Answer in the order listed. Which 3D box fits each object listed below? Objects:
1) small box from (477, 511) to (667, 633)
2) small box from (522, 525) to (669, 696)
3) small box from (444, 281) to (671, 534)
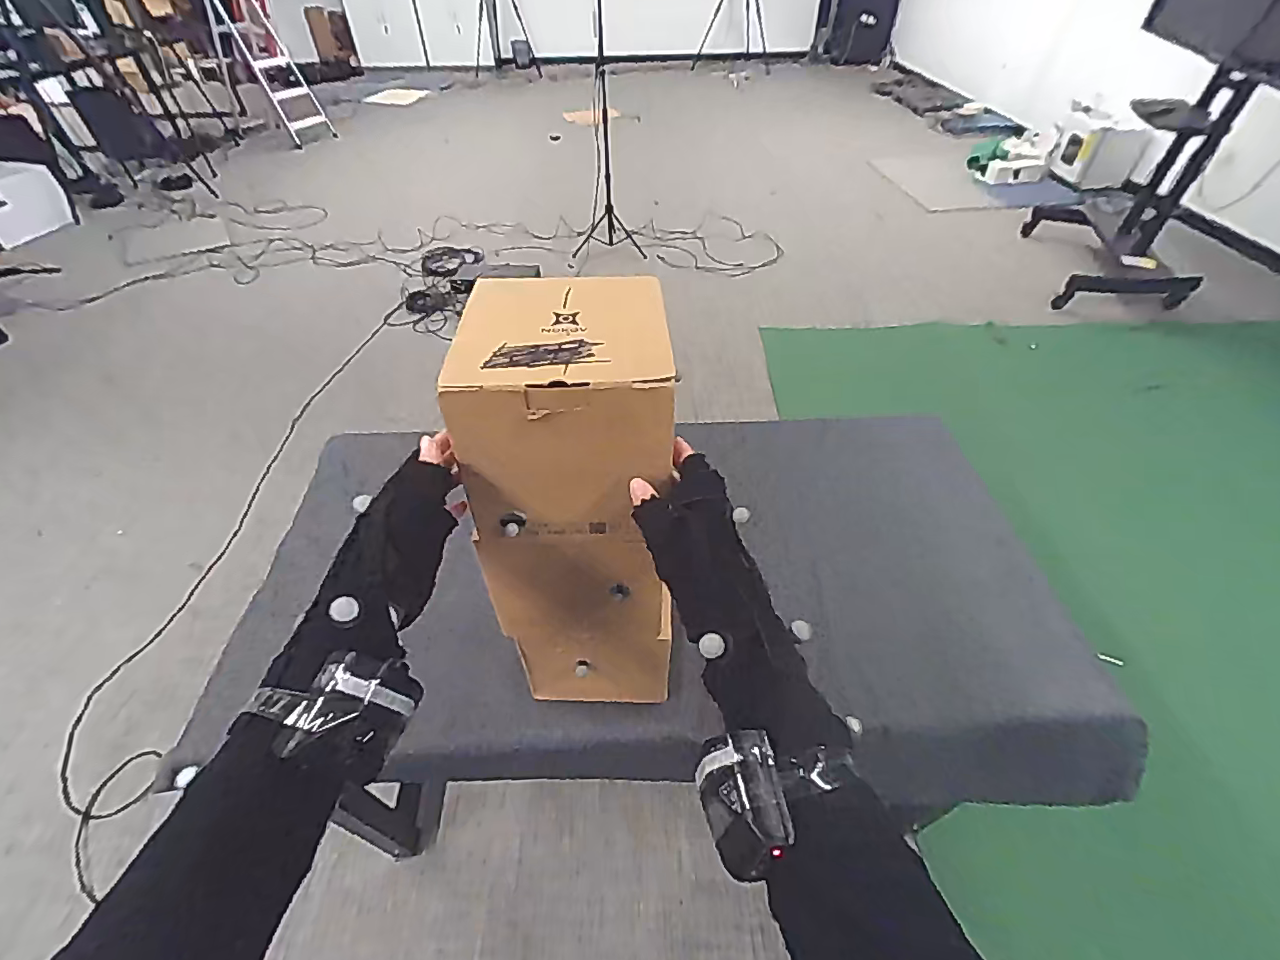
[{"bbox_3d":[-0.063,0.057,0.605,0.179,0.176,0.168,0,43,0],"label":"small box"},{"bbox_3d":[-0.050,0.173,0.719,0.179,0.176,0.168,1,45,2],"label":"small box"},{"bbox_3d":[-0.060,-0.064,0.493,0.168,0.176,0.179,-1,43,-2],"label":"small box"}]
